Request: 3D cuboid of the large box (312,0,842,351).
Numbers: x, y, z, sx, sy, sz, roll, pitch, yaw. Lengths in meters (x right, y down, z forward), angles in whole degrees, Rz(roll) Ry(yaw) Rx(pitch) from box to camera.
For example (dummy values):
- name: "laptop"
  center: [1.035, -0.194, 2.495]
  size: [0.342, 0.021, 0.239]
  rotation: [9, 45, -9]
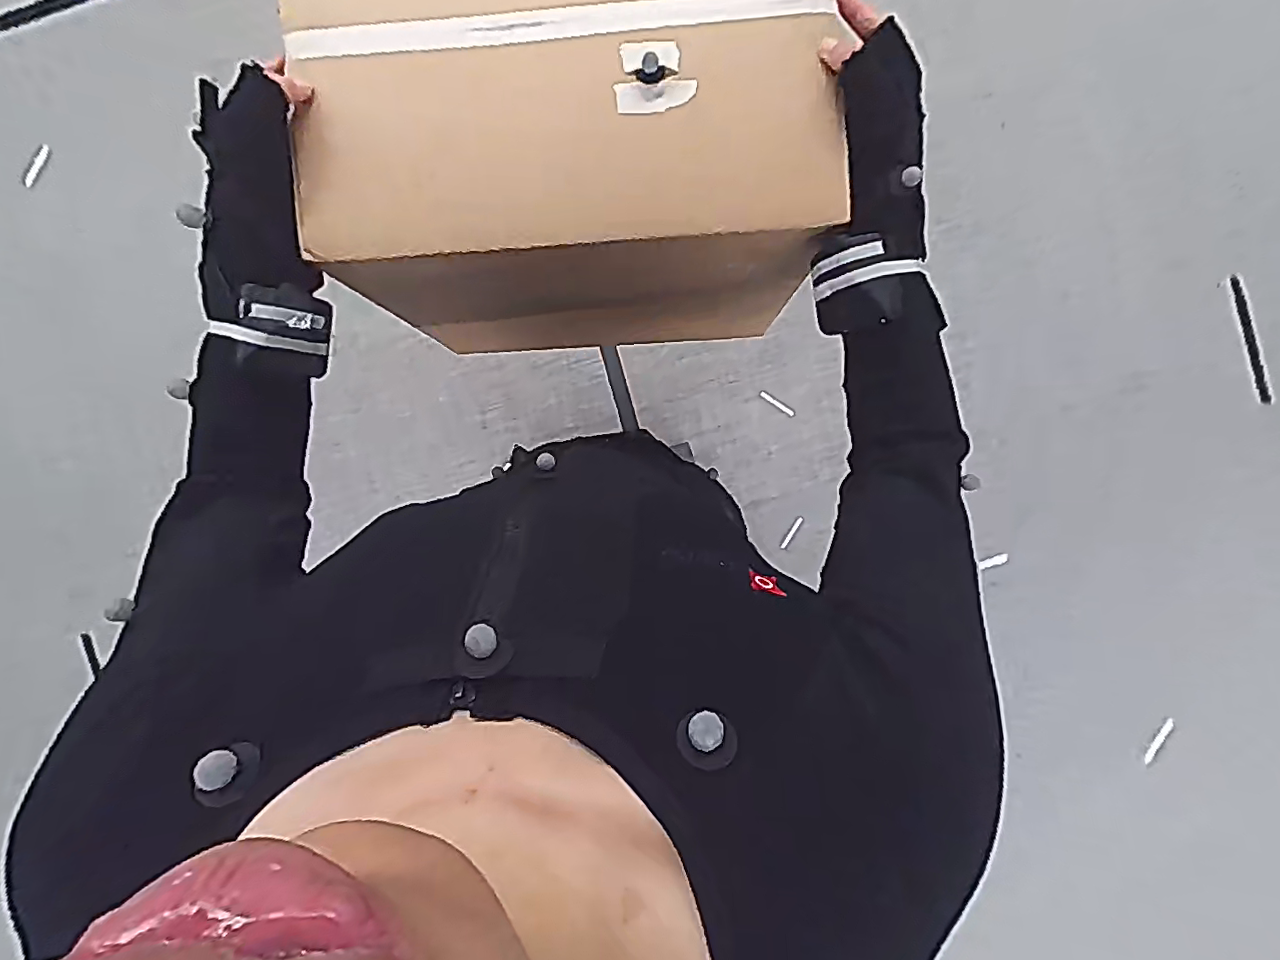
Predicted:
- name: "large box"
  center: [-0.053, -0.335, 0.561]
  size: [0.408, 0.320, 0.320]
  rotation: [-3, 90, 1]
